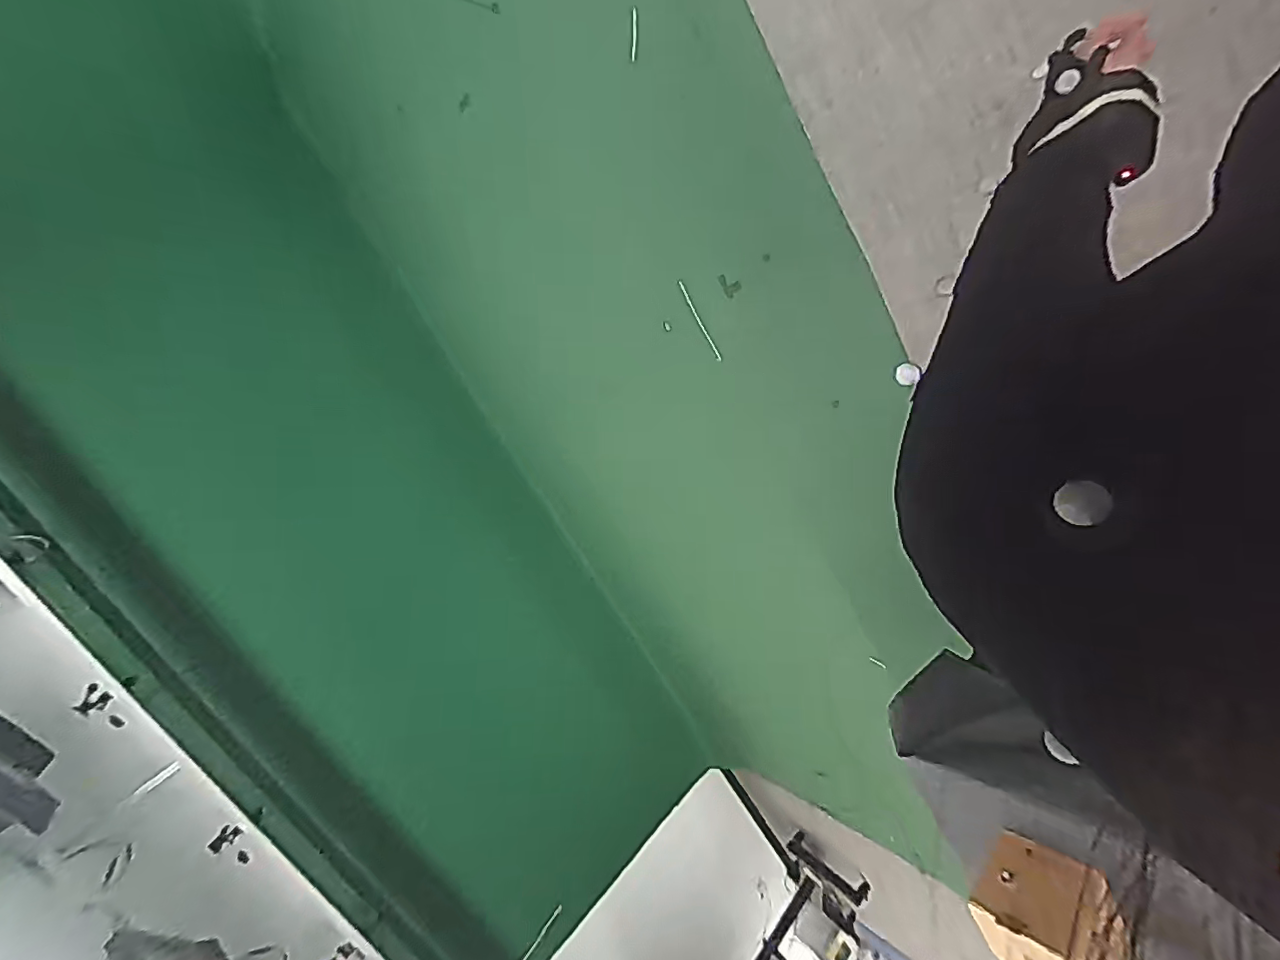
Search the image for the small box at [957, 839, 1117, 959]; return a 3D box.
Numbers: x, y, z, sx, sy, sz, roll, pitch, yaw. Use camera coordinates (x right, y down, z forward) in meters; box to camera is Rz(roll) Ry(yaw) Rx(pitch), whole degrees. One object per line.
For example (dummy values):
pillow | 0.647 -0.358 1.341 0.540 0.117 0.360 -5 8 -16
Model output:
small box | 0.716 0.803 0.975 0.168 0.176 0.179 -5 120 59
